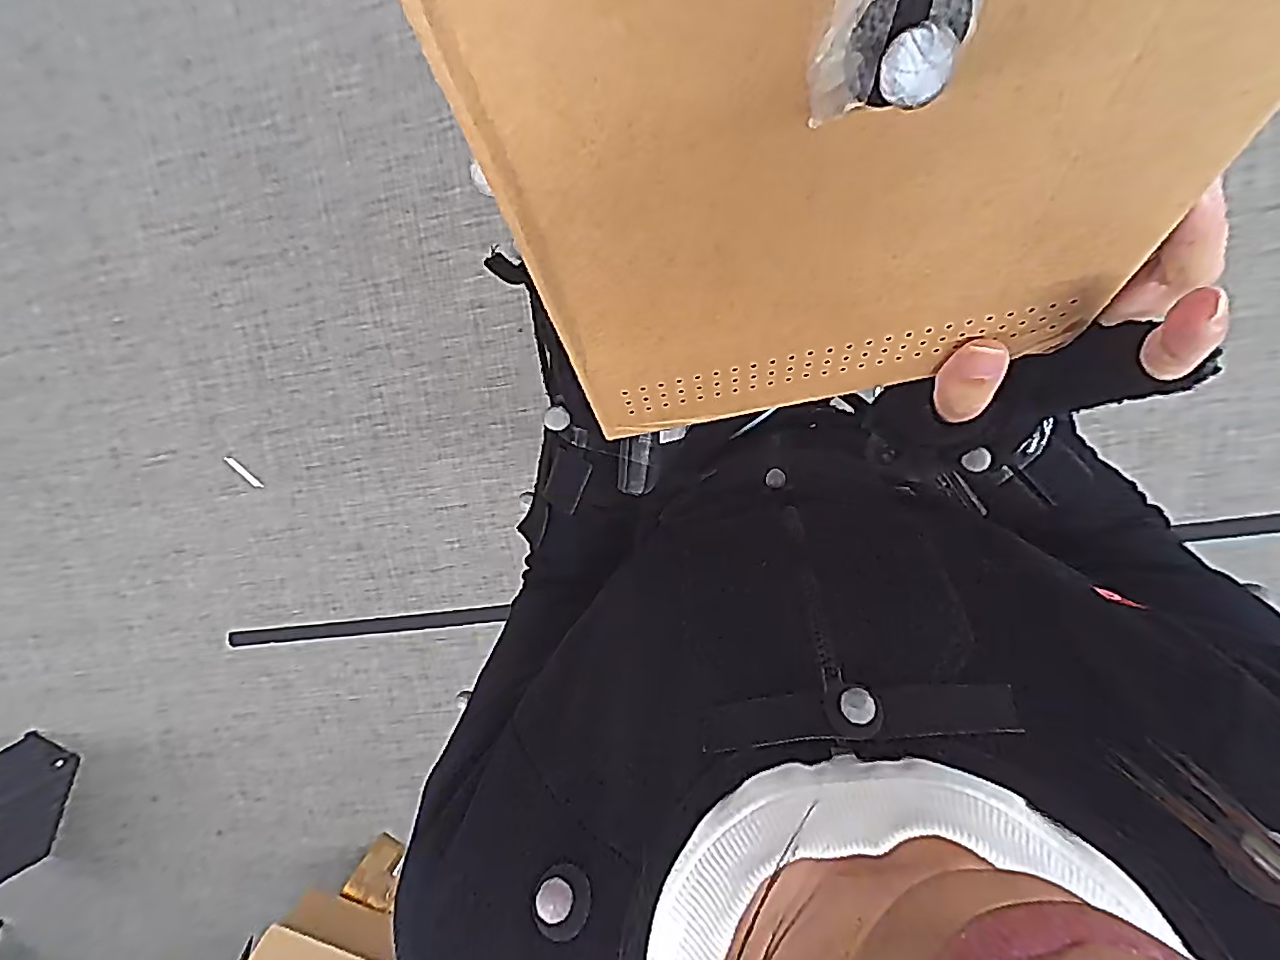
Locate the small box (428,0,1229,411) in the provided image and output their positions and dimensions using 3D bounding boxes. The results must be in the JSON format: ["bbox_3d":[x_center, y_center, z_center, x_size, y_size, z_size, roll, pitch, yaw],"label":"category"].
[{"bbox_3d":[0.049,-0.142,0.188,0.179,0.176,0.168,-10,65,6],"label":"small box"}]
